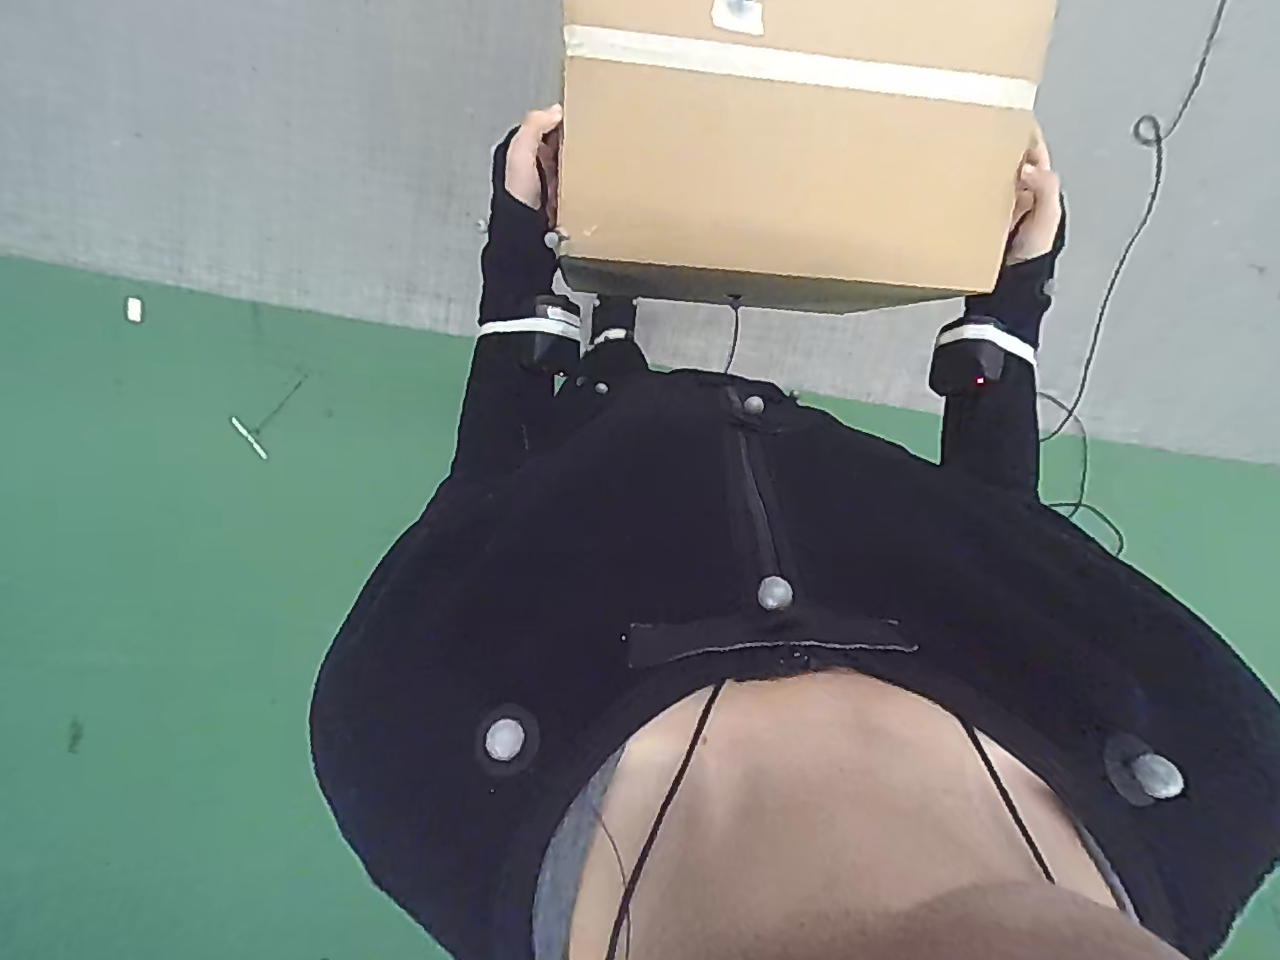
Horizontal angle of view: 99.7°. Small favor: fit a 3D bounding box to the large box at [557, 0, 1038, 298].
[{"bbox_3d":[0.123,-0.379,0.600,0.408,0.320,0.320,3,104,-5],"label":"large box"}]
